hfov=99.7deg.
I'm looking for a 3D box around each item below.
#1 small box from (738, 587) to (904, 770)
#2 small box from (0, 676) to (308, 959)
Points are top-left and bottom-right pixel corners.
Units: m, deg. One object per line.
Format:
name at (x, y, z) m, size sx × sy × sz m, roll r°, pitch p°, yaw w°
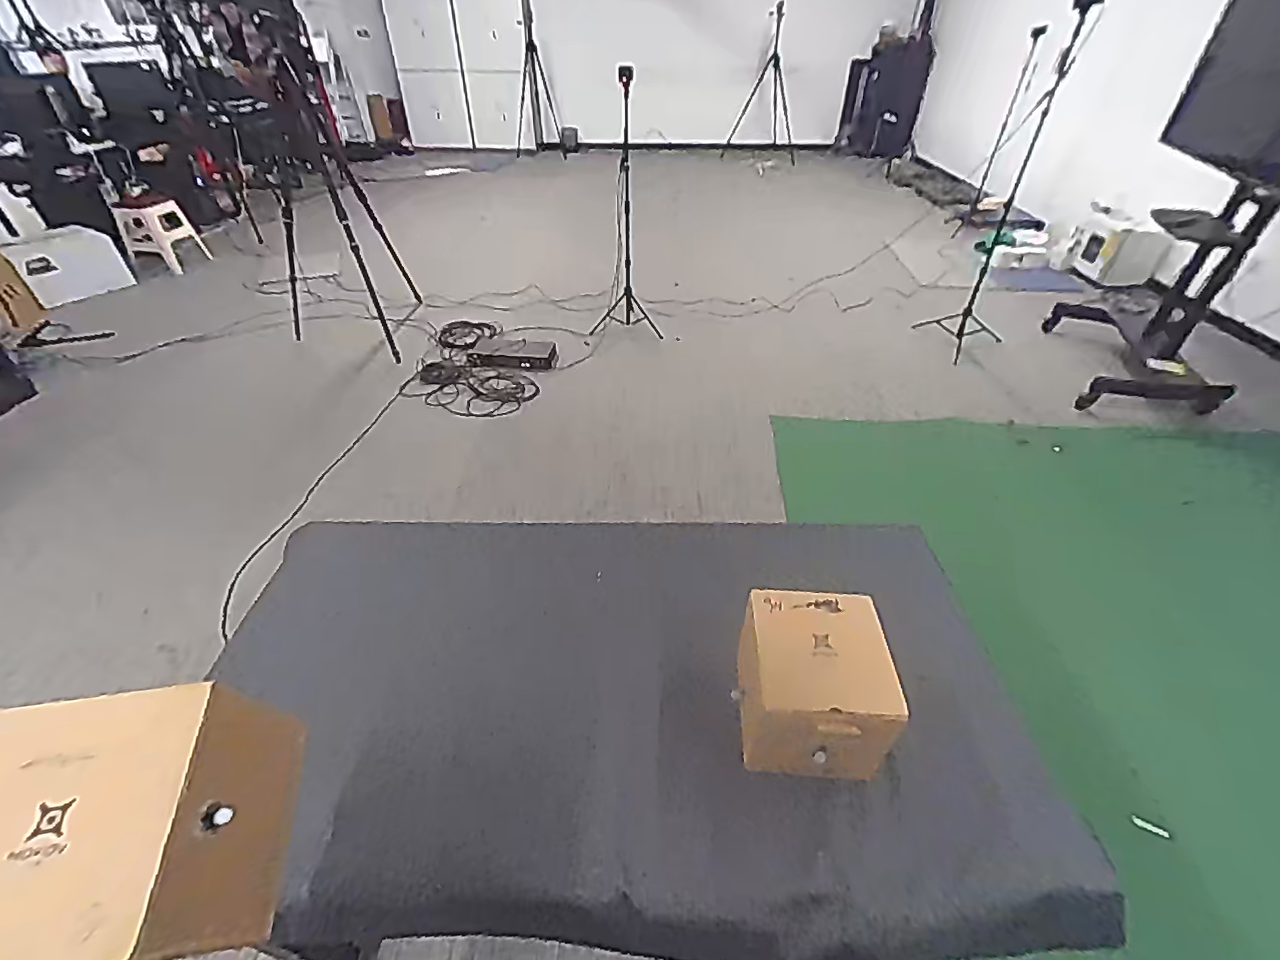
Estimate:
small box at (0.227, 0.269, 0.731) m, size 0.168 × 0.176 × 0.179 m, roll 3°, pitch 41°, yaw 3°
small box at (-0.402, 0.278, 0.437) m, size 0.168 × 0.176 × 0.179 m, roll -6°, pitch 54°, yaw -7°
